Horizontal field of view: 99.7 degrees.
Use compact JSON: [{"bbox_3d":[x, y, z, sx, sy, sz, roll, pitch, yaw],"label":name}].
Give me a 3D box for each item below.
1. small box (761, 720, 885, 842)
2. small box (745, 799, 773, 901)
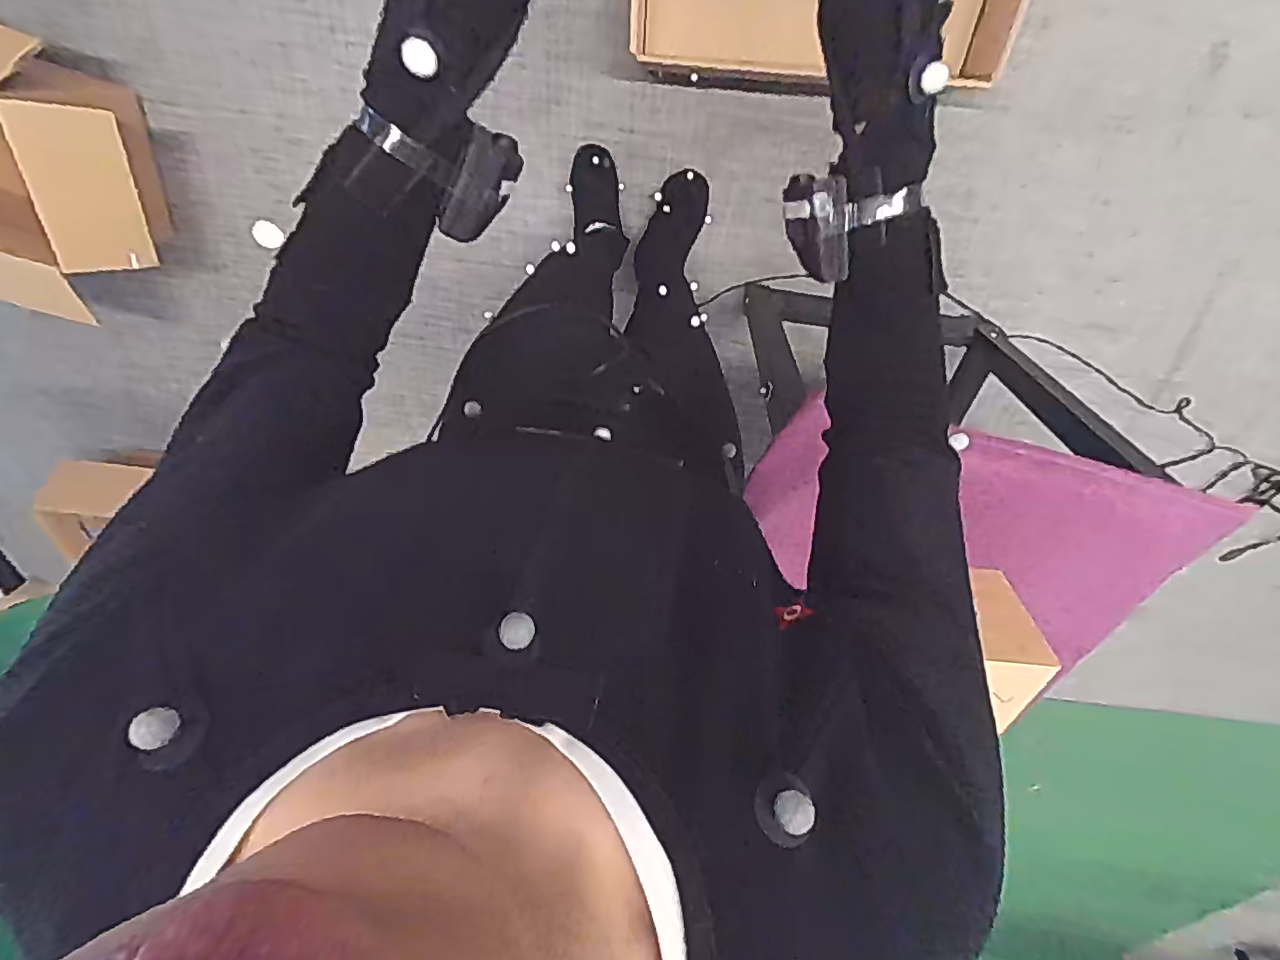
[{"bbox_3d":[0.344,0.596,1.060,0.179,0.176,0.168,6,126,0],"label":"small box"},{"bbox_3d":[0.348,0.856,1.248,0.179,0.176,0.168,9,127,-1],"label":"small box"}]
